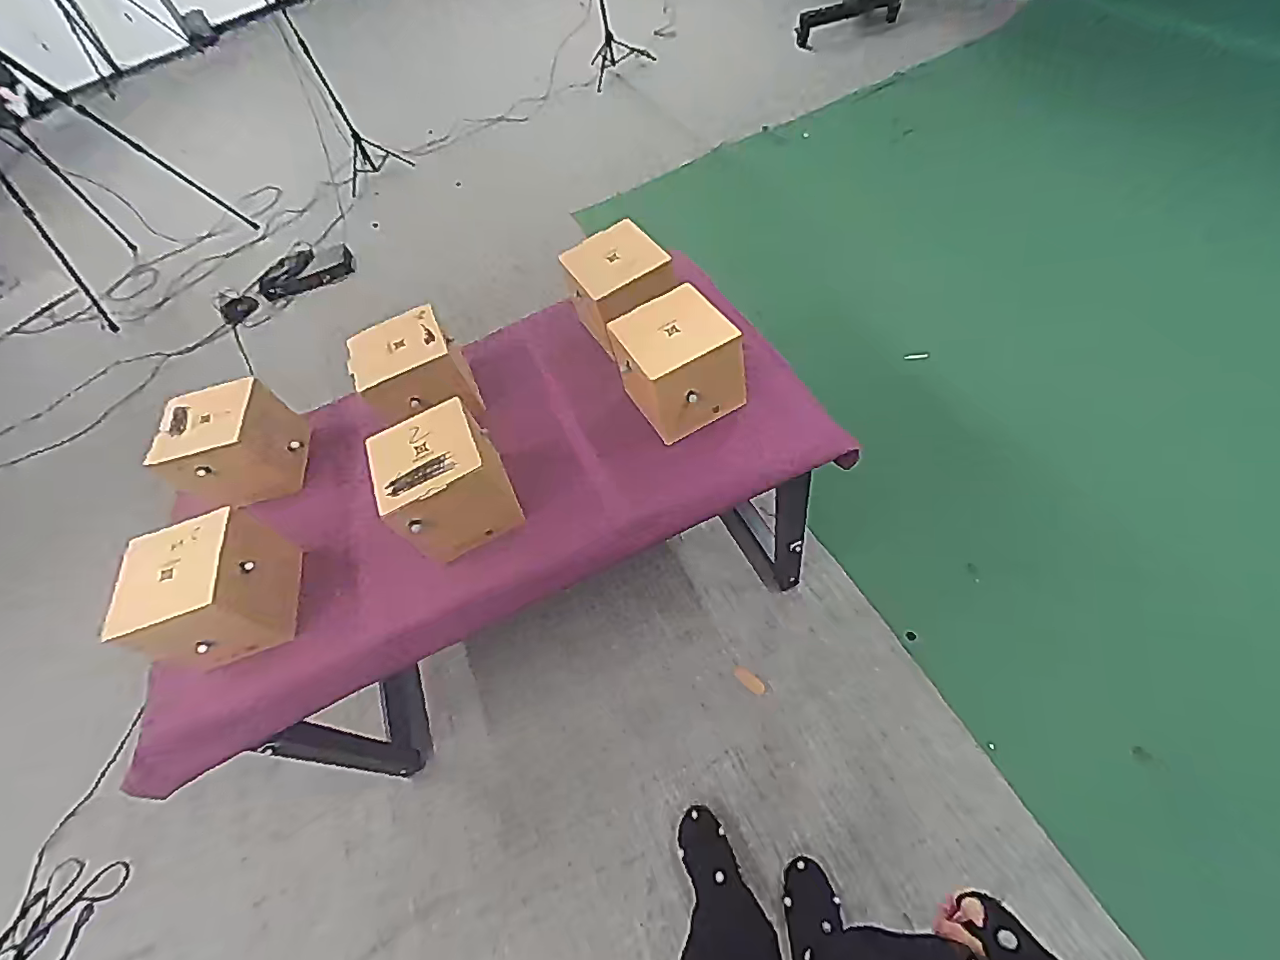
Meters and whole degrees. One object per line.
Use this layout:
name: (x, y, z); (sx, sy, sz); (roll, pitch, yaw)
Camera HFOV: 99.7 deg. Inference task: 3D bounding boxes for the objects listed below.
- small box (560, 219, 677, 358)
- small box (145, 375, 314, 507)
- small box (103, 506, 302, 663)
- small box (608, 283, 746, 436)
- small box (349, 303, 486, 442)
small box: (-0.034, -0.377, 1.082); (0.168, 0.176, 0.179); (-31, 57, -6)
small box: (-0.775, -0.068, 1.041); (0.179, 0.176, 0.168); (-15, 56, 1)
small box: (-0.673, 0.175, 0.859); (0.168, 0.176, 0.179); (-19, 55, -1)
small box: (0.071, -0.200, 0.941); (0.168, 0.176, 0.179); (-29, 53, -6)
small box: (-0.430, -0.204, 1.057); (0.179, 0.176, 0.168); (-27, 57, -4)
